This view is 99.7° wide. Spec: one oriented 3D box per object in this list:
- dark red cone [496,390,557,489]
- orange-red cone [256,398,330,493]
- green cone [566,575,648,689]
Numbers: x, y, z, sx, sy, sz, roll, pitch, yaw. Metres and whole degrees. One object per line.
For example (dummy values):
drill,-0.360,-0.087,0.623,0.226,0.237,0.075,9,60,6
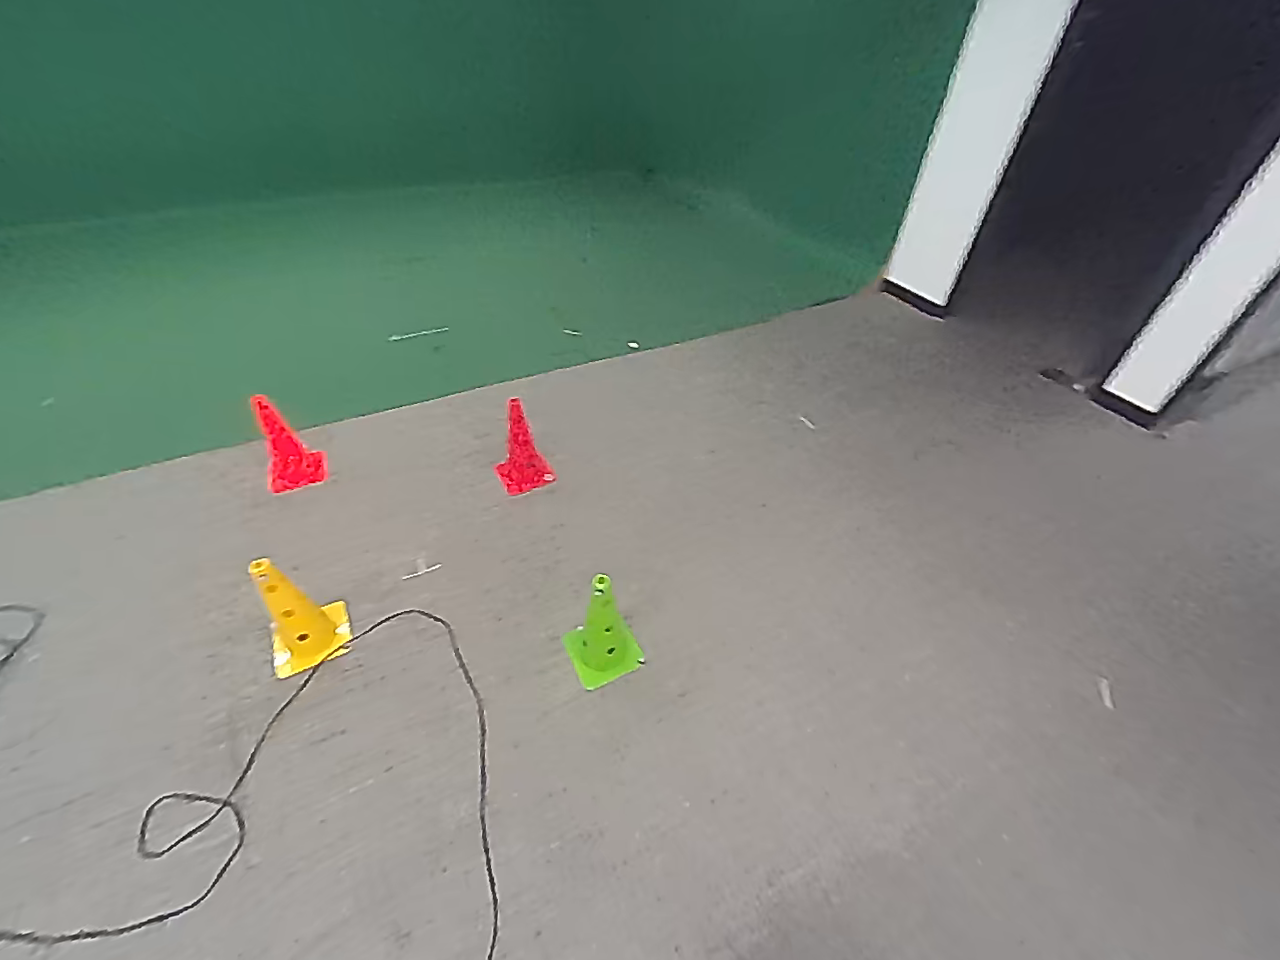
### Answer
dark red cone,-0.452,-0.168,2.052,0.202,0.394,0.201,-22,47,-24
orange-red cone,-1.345,-0.154,2.039,0.198,0.360,0.199,-19,48,-19
green cone,-0.101,0.383,1.512,0.202,0.368,0.200,-20,47,-20
